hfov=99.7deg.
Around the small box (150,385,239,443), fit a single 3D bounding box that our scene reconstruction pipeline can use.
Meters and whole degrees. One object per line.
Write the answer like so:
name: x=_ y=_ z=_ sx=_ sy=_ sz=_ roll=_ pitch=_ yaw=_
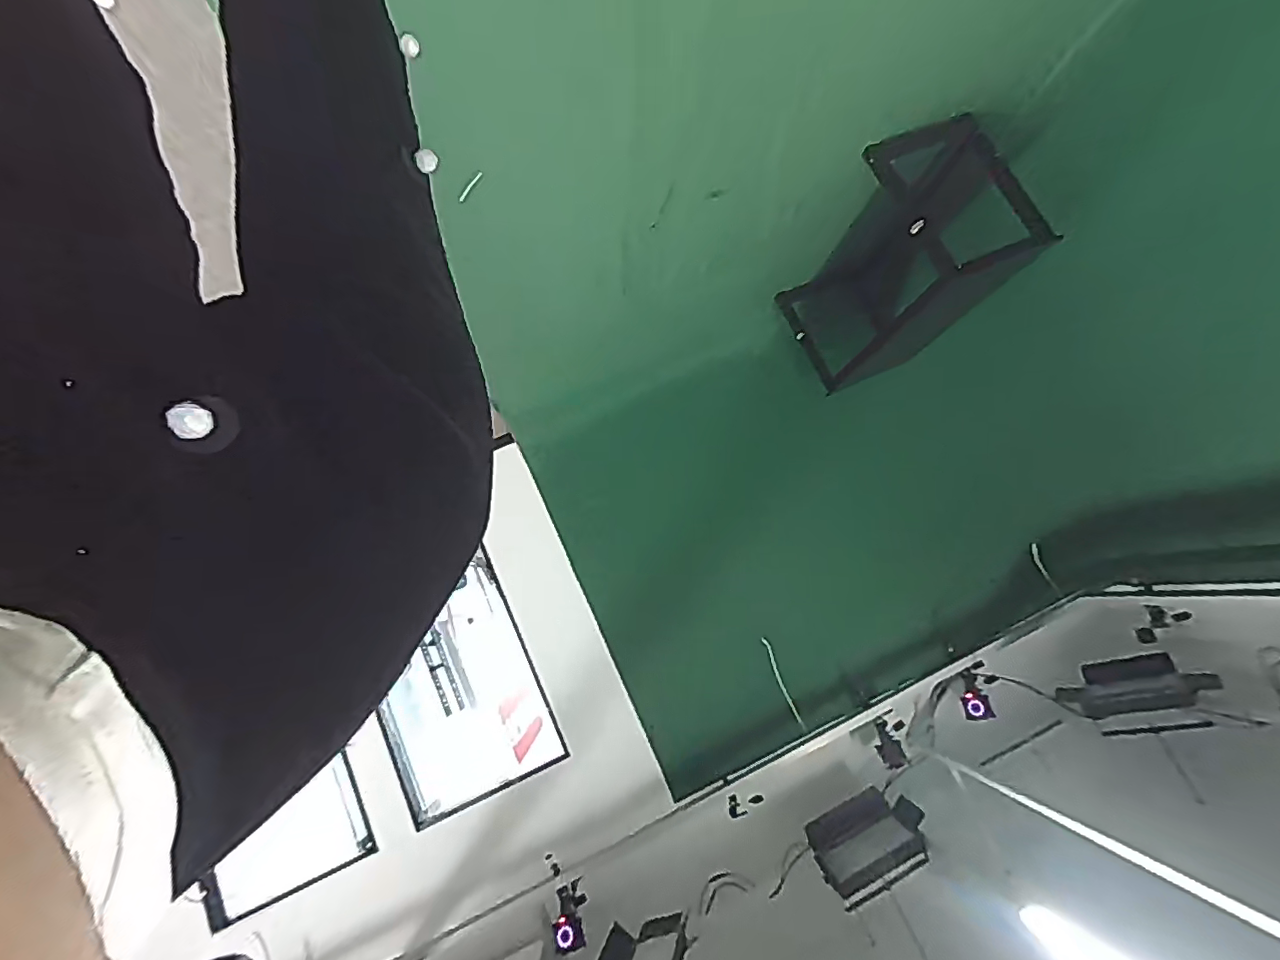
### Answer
small box: x=-1.554 y=-0.210 z=1.889 sx=0.168 sy=0.176 sz=0.179 roll=-20 pitch=168 yaw=-12
